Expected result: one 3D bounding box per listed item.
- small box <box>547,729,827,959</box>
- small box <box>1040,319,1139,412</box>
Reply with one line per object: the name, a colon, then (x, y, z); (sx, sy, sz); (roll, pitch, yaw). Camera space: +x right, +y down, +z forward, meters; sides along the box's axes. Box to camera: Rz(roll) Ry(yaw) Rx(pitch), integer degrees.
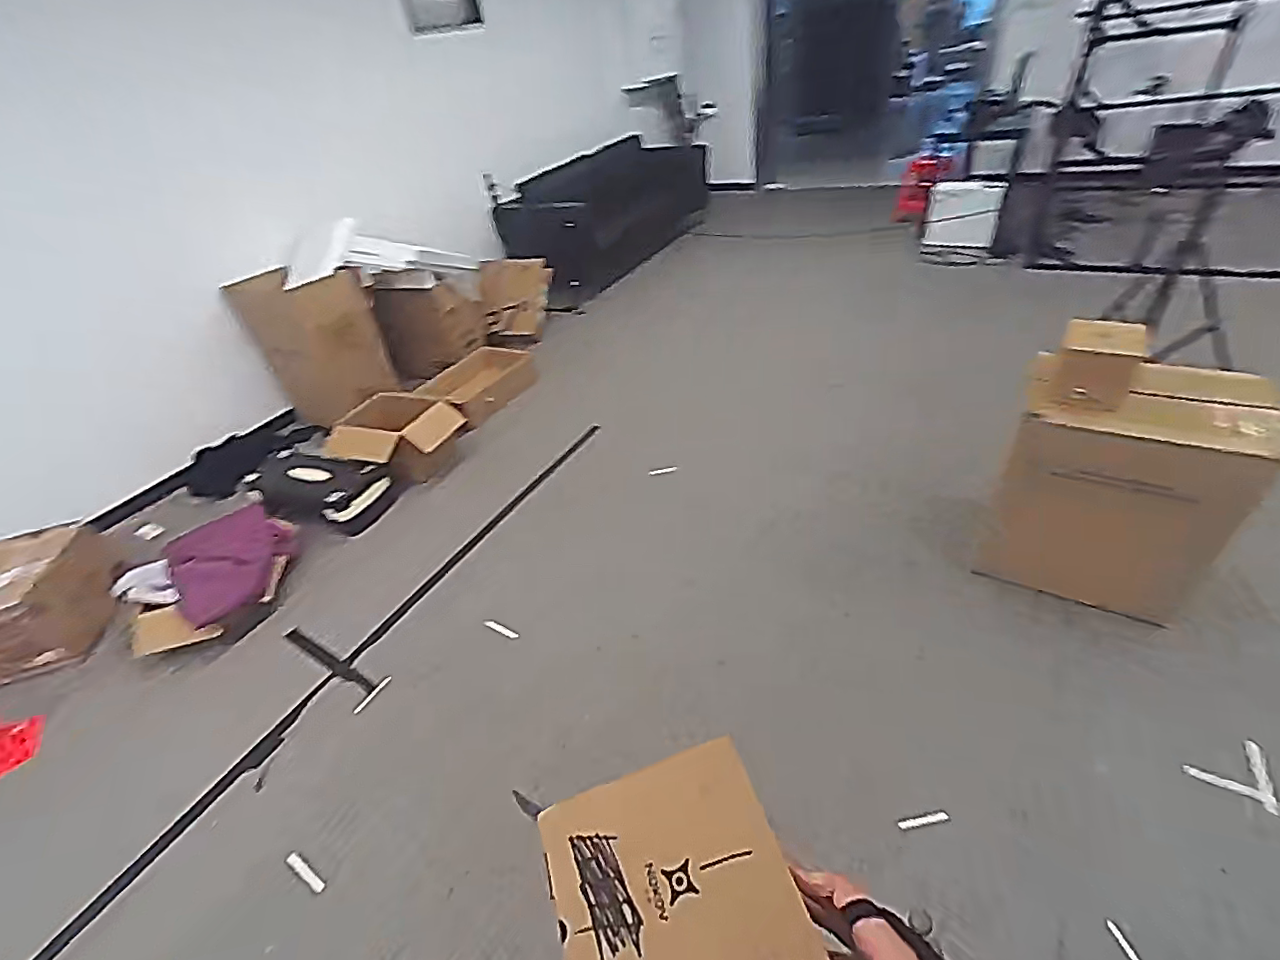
small box: (0.037, 0.351, 0.461); (0.179, 0.176, 0.168); (-18, 44, -6)
small box: (1.203, -0.310, 1.456); (0.168, 0.176, 0.179); (15, 48, 29)
